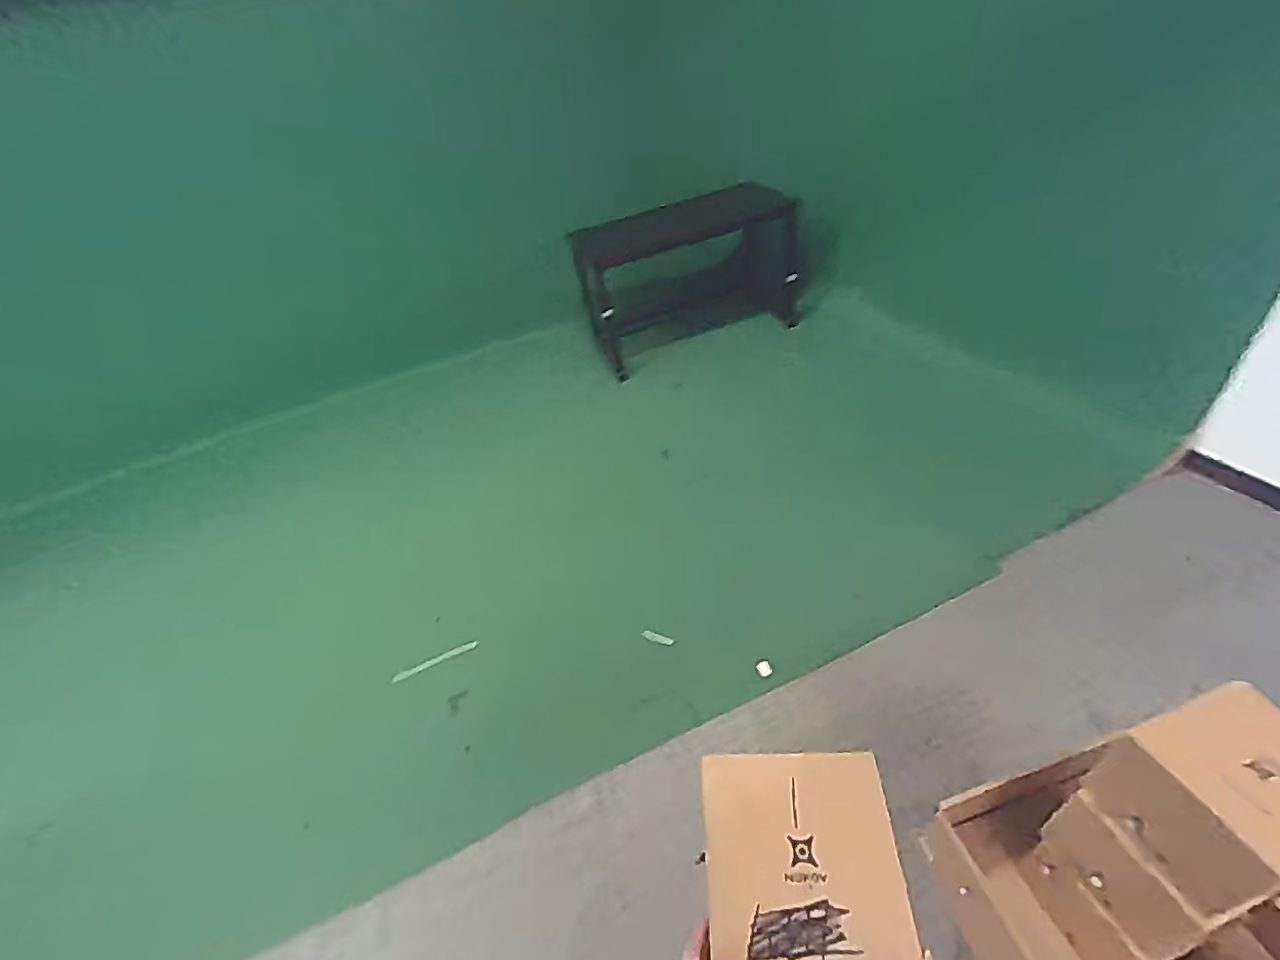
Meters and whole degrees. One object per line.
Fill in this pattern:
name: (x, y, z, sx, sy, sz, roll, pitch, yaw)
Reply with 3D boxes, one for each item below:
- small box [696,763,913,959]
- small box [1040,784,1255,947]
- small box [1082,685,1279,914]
small box: (0.142, 0.388, 0.528, 0.168, 0.176, 0.179, -2, 52, 3)
small box: (0.721, 0.515, 0.763, 0.179, 0.176, 0.168, -19, 42, -8)
small box: (0.703, 0.389, 0.660, 0.179, 0.176, 0.168, -18, 41, -7)
